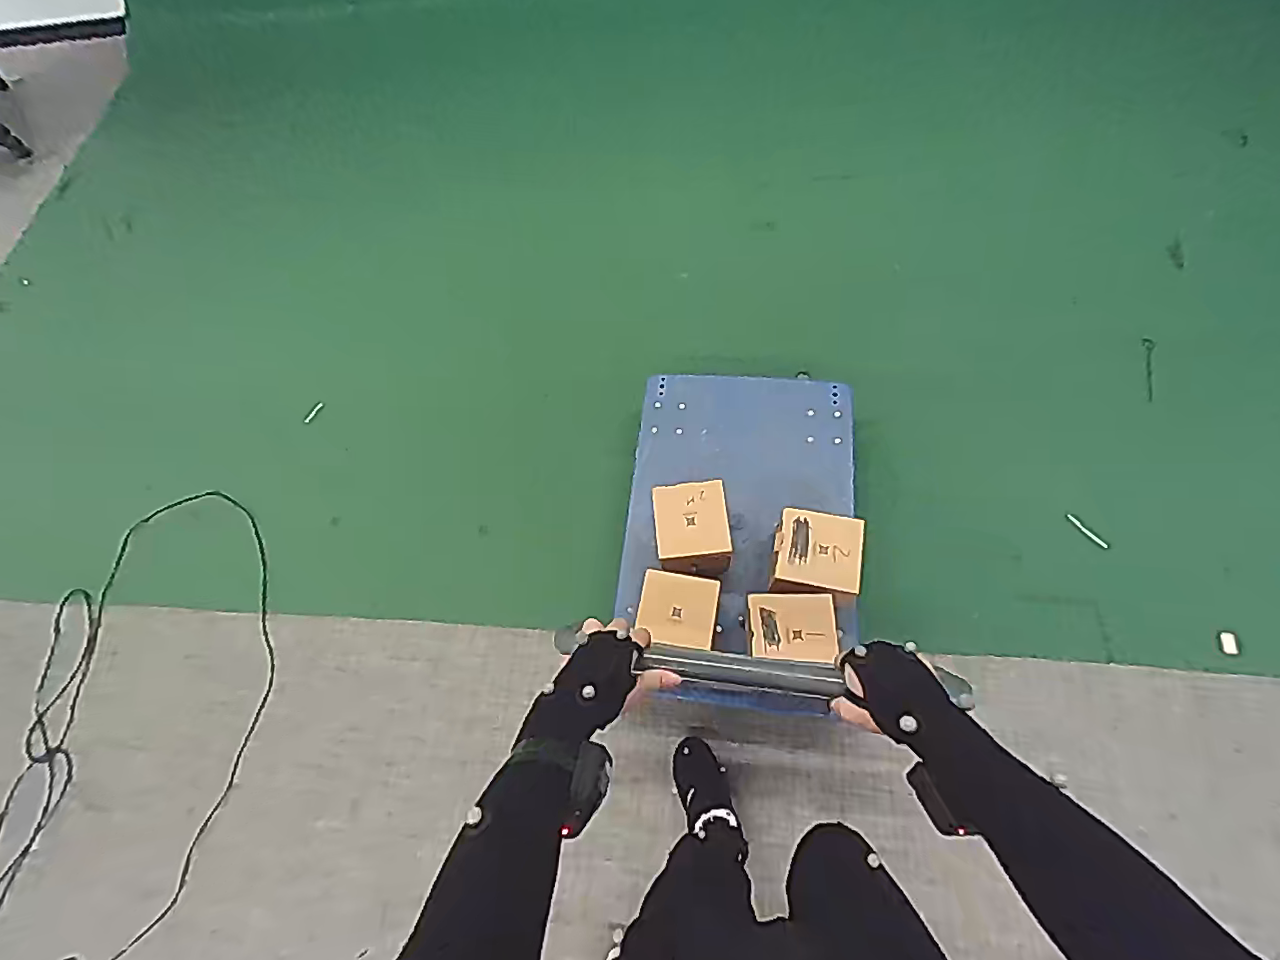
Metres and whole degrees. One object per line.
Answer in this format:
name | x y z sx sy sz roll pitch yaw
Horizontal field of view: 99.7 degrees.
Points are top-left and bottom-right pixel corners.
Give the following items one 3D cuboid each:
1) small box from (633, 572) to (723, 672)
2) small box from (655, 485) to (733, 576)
small box | 0.089 0.324 1.216 0.168 0.176 0.179 9 69 10
small box | 0.128 0.128 1.294 0.168 0.176 0.179 -6 66 4
